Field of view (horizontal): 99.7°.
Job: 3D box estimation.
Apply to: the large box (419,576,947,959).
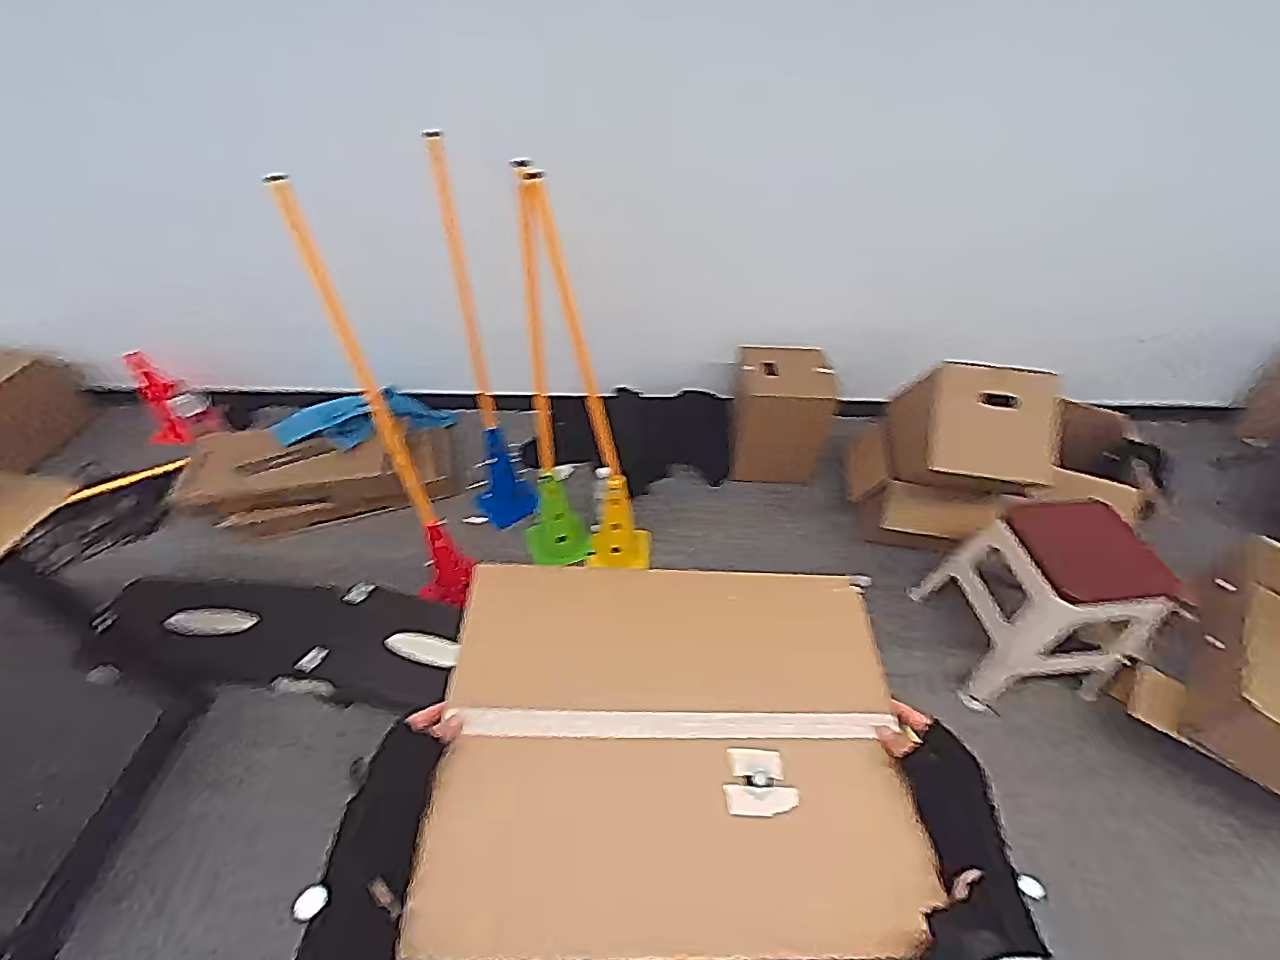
[{"bbox_3d":[0.022,0.321,0.602,0.408,0.320,0.320,3,51,-4],"label":"large box"}]
